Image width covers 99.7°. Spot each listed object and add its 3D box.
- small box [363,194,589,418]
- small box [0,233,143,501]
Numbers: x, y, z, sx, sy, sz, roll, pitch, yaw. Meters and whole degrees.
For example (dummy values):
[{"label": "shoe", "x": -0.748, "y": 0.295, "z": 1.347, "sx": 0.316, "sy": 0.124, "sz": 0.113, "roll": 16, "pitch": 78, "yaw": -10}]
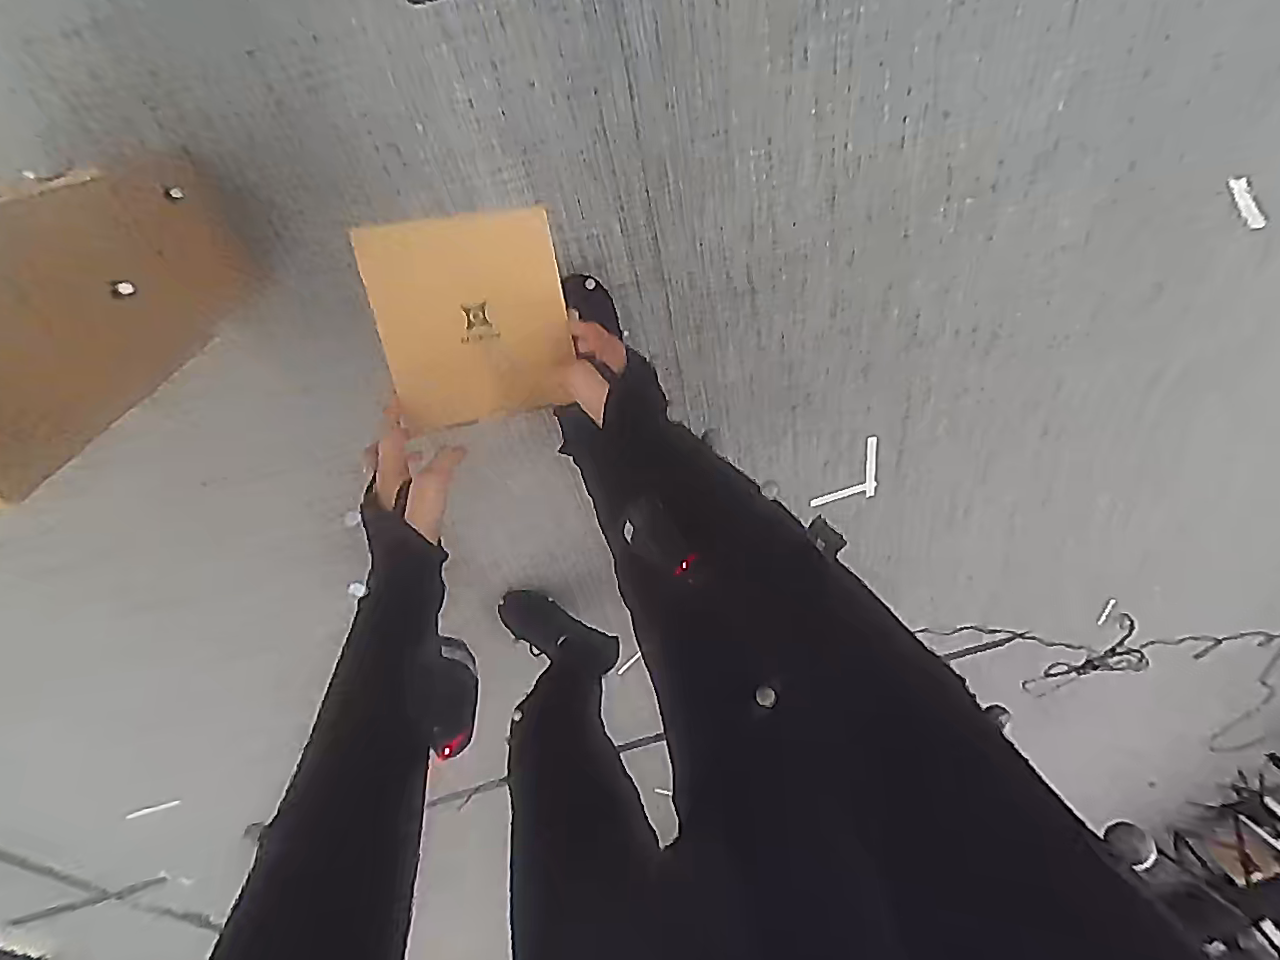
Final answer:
[{"label": "small box", "x": -0.166, "y": -0.172, "z": 0.560, "sx": 0.168, "sy": 0.176, "sz": 0.179, "roll": -15, "pitch": 107, "yaw": -15}, {"label": "small box", "x": -0.553, "y": -0.082, "z": 0.404, "sx": 0.168, "sy": 0.176, "sz": 0.179, "roll": -16, "pitch": 129, "yaw": 1}]
